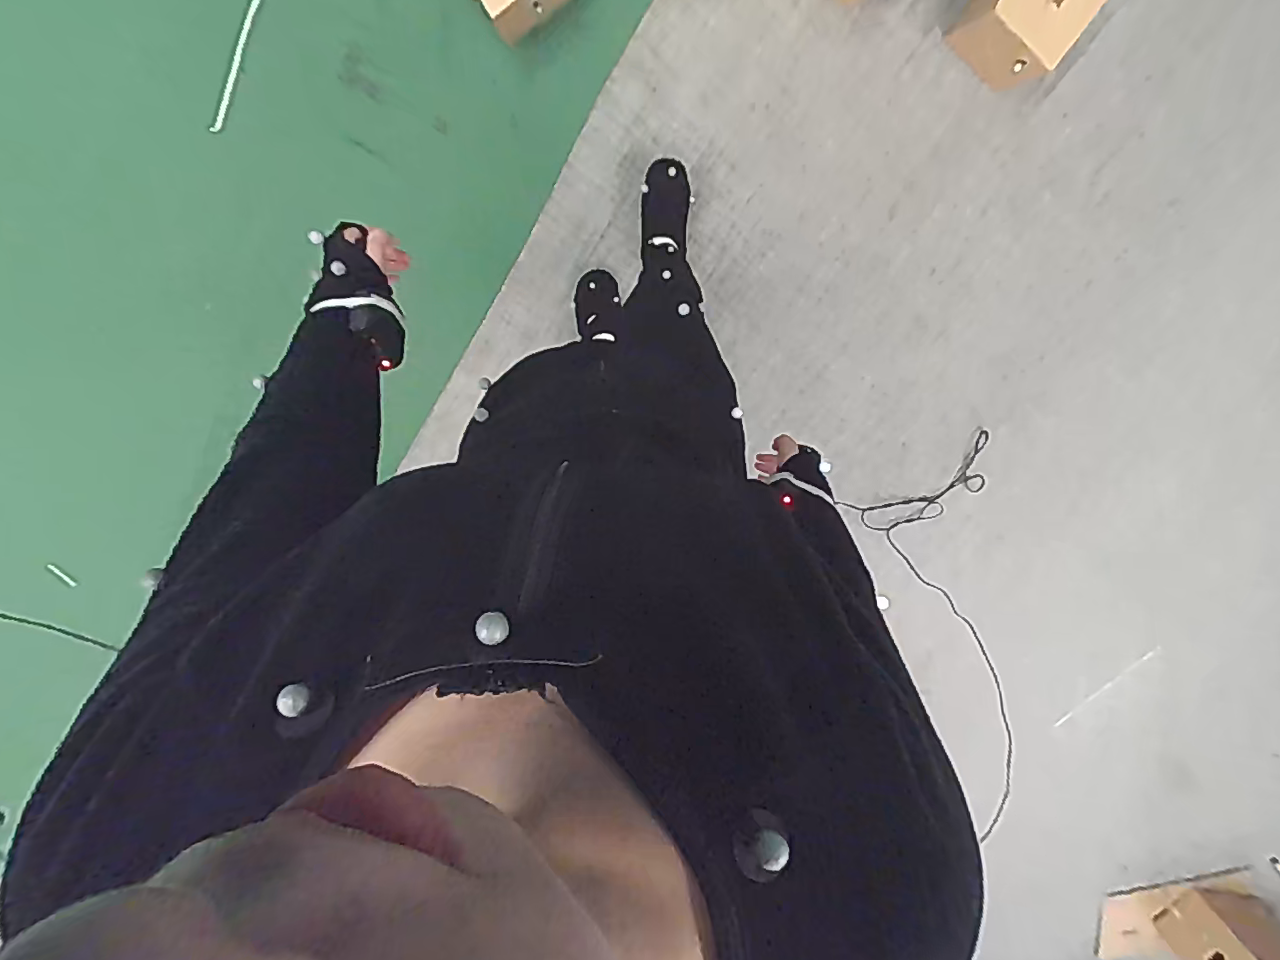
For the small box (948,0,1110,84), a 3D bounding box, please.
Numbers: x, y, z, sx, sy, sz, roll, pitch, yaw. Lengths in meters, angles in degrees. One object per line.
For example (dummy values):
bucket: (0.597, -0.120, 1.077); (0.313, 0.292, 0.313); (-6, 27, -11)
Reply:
small box: (0.762, -0.921, 1.063); (0.179, 0.176, 0.168); (29, 110, -16)
